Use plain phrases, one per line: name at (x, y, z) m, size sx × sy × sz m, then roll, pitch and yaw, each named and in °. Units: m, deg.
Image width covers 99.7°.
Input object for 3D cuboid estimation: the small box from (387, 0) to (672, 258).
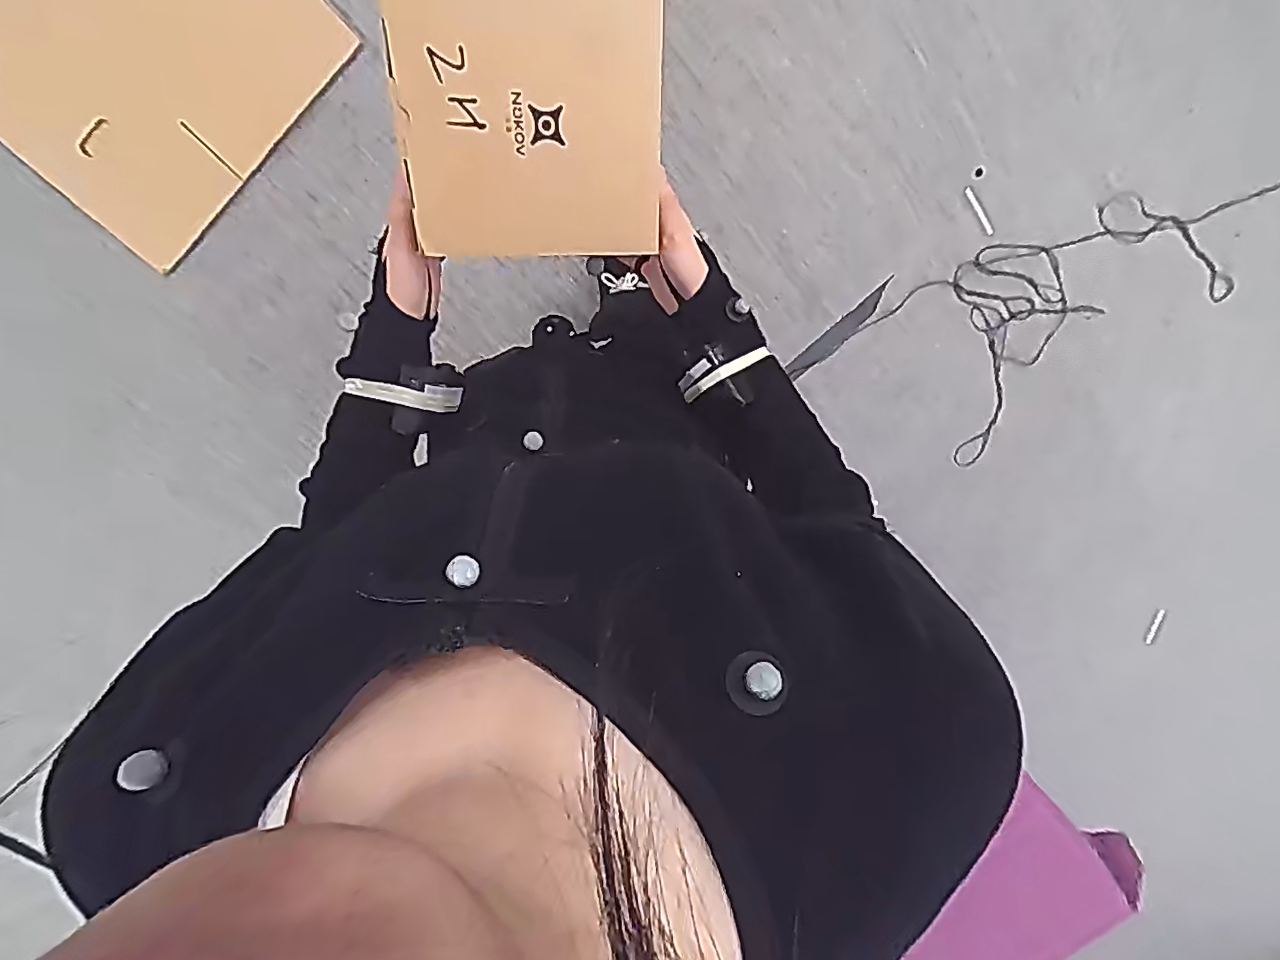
small box at (-0.080, -0.272, 0.431) m, size 0.179 × 0.176 × 0.168 m, roll -4°, pitch 116°, yaw -9°
